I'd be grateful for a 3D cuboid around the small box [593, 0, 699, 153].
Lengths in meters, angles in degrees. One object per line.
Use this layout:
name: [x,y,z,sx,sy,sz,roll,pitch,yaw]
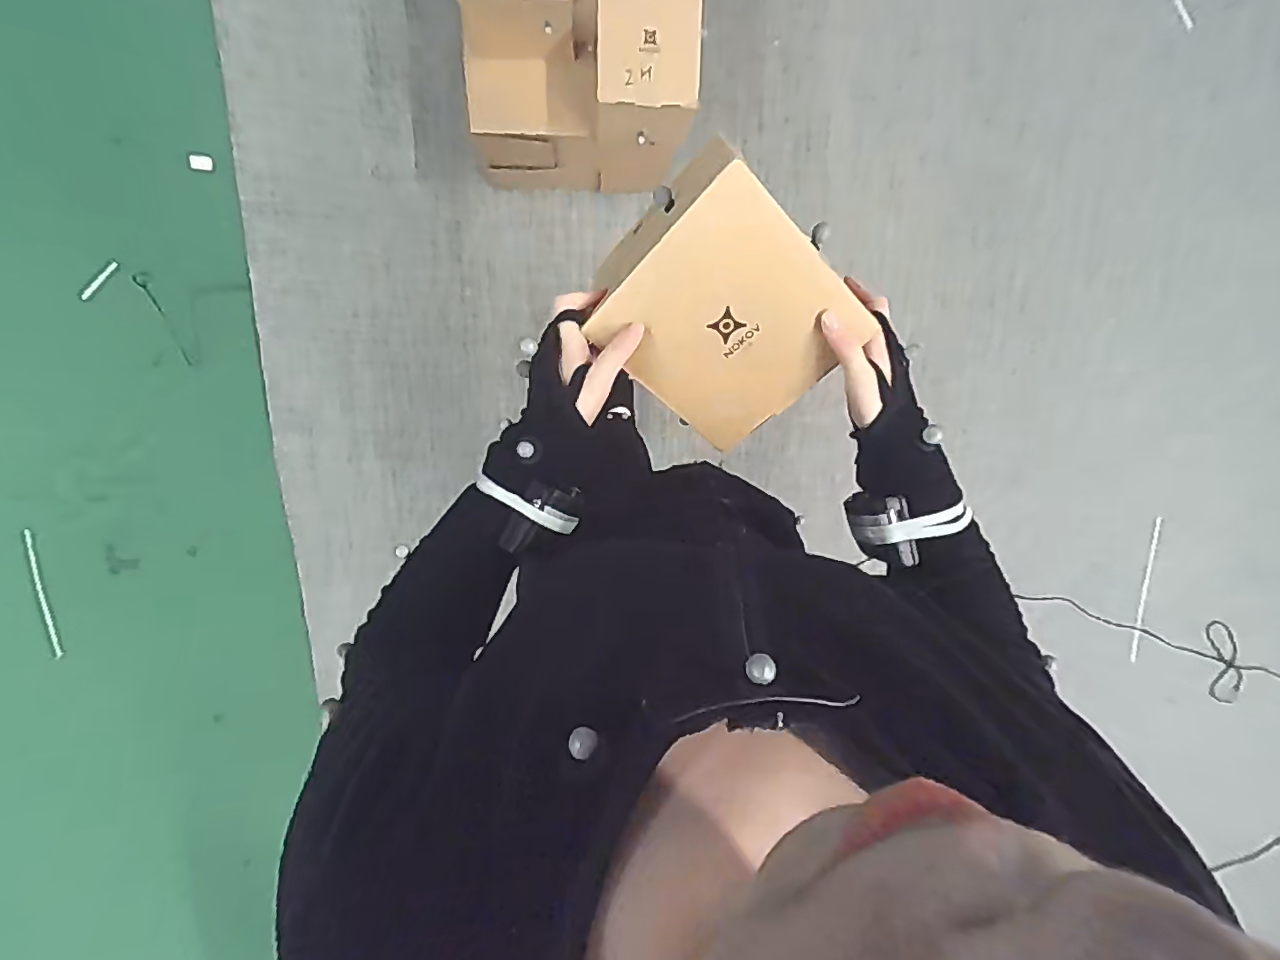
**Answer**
small box: [0.003,-0.699,0.936,0.168,0.176,0.179,0,101,-5]
